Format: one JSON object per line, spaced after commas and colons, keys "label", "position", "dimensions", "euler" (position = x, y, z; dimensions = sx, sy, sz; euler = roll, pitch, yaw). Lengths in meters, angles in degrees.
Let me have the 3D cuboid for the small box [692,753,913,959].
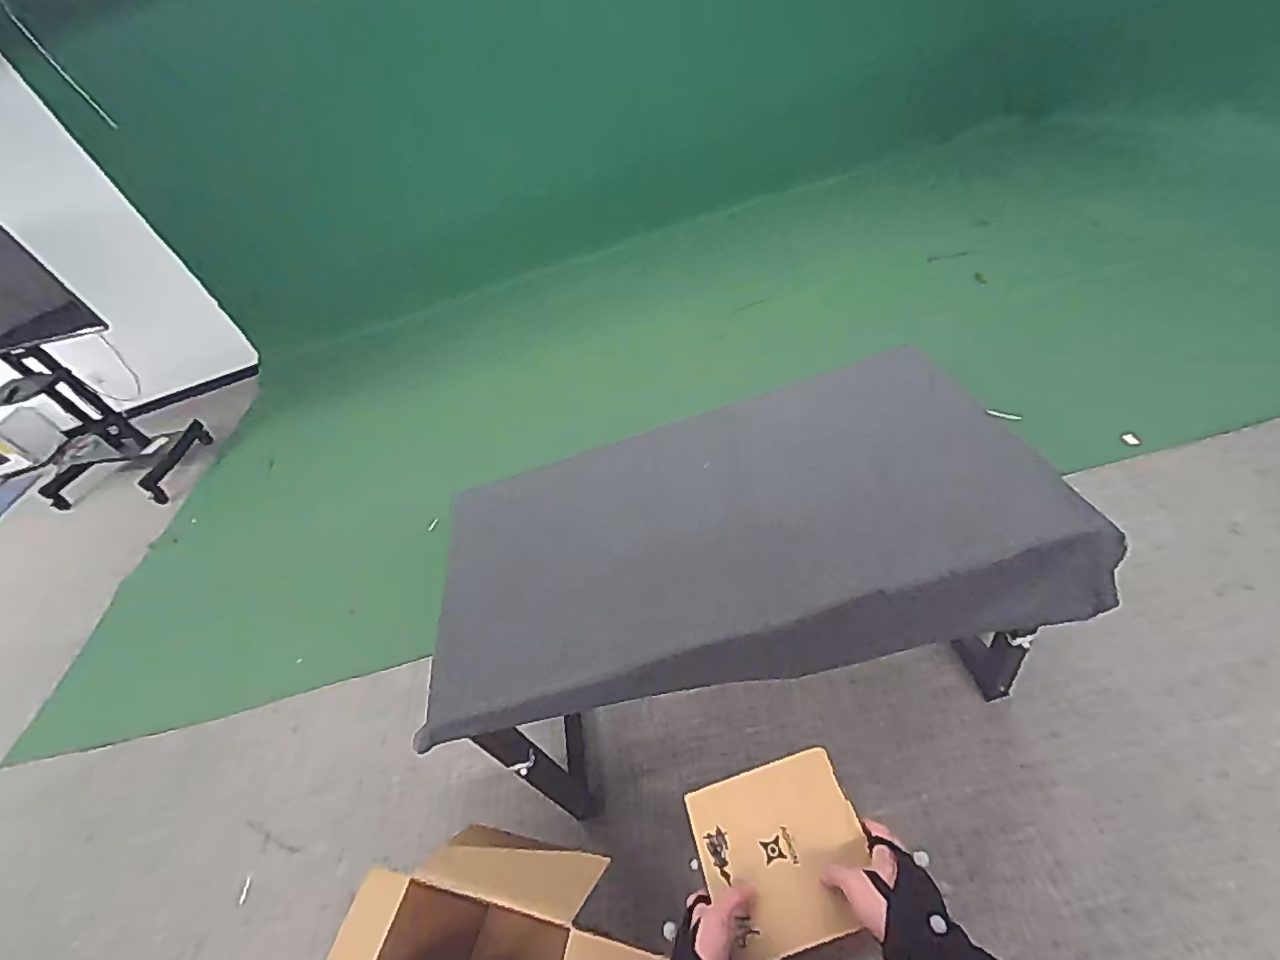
{"label": "small box", "position": [0.177, 0.447, 0.612], "dimensions": [0.179, 0.176, 0.168], "euler": [-20, 39, 0]}
